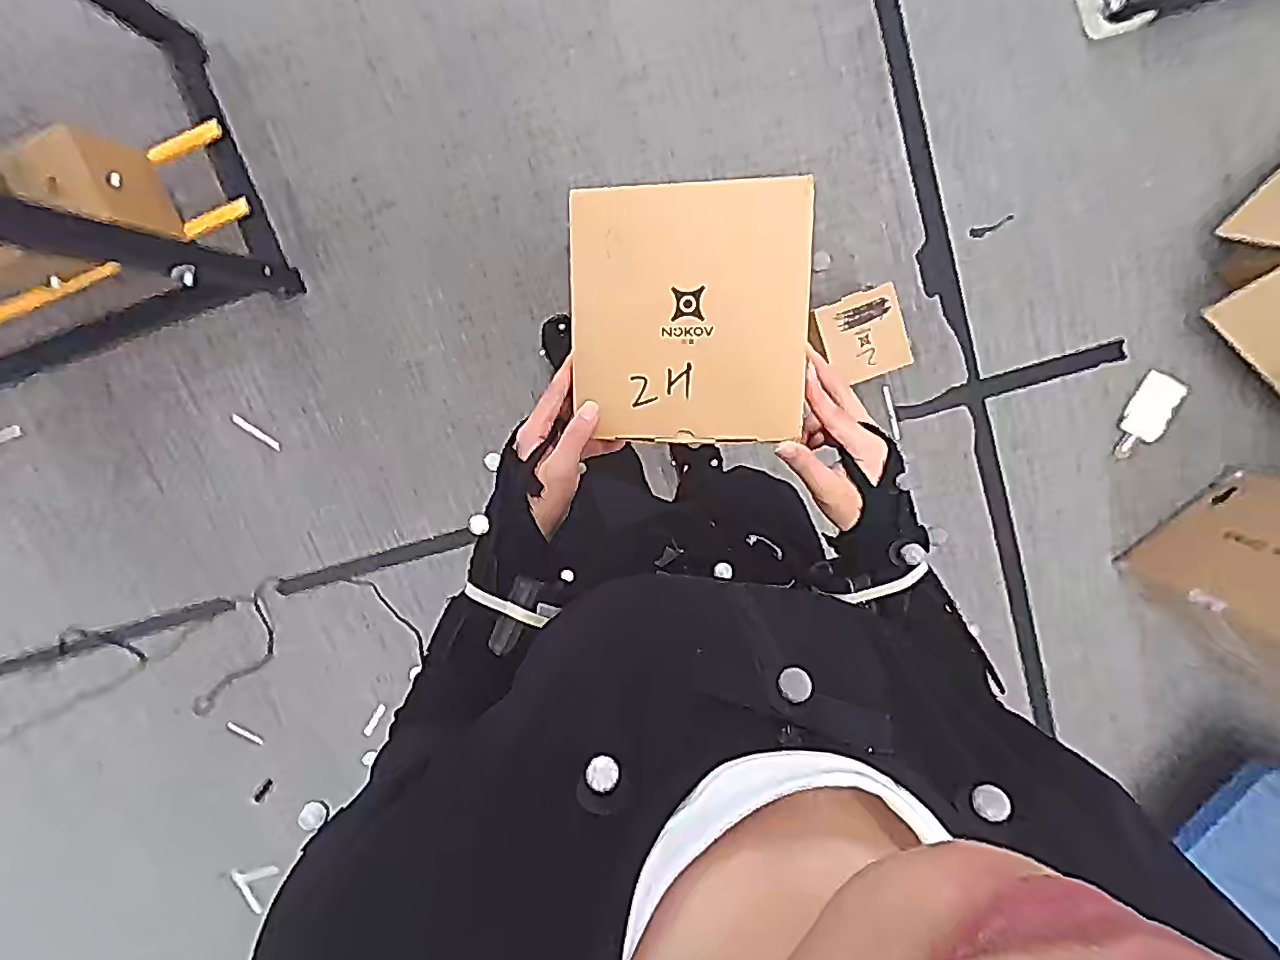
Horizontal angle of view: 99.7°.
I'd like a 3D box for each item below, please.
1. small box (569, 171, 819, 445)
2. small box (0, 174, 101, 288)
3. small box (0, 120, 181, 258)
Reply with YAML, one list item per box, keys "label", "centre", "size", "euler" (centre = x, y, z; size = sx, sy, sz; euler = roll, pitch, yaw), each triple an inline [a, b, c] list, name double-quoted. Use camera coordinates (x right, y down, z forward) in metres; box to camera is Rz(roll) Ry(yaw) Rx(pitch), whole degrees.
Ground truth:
- label: "small box"
  centre: [0.043, -0.124, 0.442]
  size: [0.168, 0.176, 0.179]
  euler: [2, 100, 9]
- label: "small box"
  centre: [-1.291, -0.512, 1.109]
  size: [0.168, 0.176, 0.179]
  euler: [-17, 103, 7]
- label: "small box"
  centre: [-1.094, -0.570, 1.084]
  size: [0.168, 0.176, 0.179]
  euler: [-17, 103, 7]
